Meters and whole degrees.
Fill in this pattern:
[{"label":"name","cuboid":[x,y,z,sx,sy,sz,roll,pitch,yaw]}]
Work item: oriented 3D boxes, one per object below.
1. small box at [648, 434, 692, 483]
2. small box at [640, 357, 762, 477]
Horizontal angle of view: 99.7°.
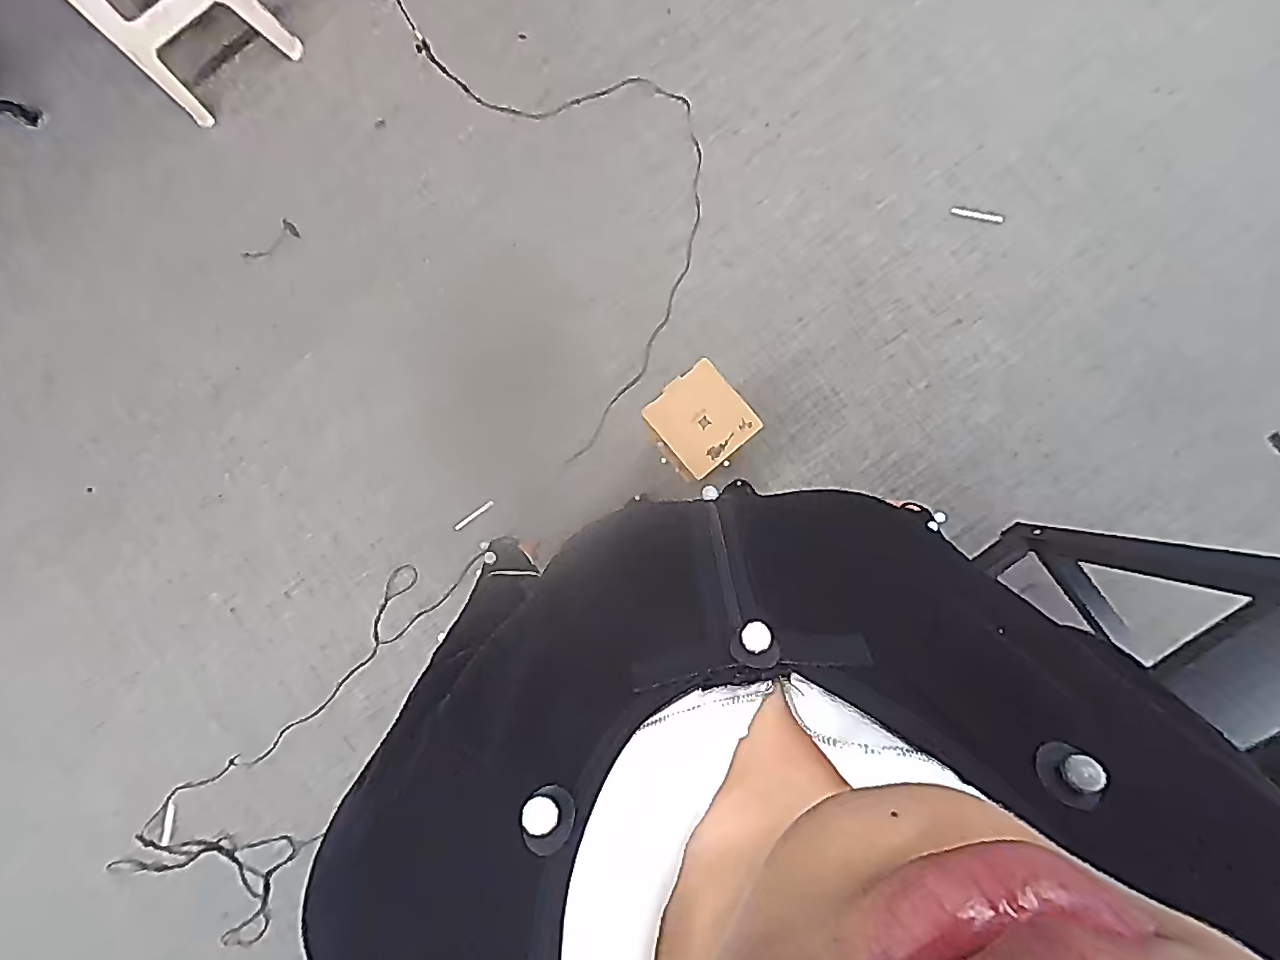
[{"label":"small box","cuboid":[0.137,-0.109,1.427,0.179,0.176,0.168,-40,87,3]},{"label":"small box","cuboid":[0.118,-0.117,1.102,0.168,0.176,0.179,-40,88,3]}]
